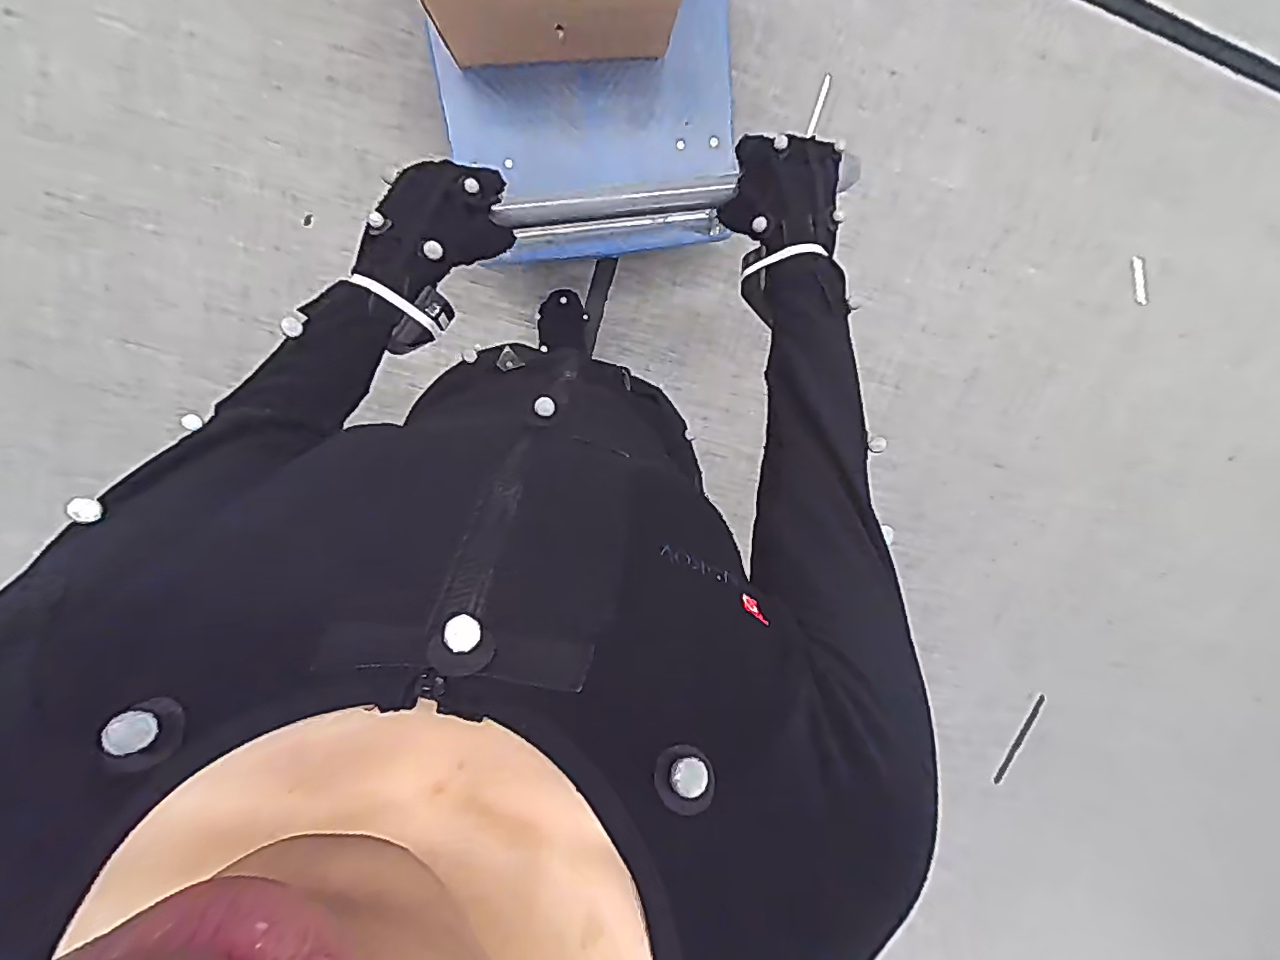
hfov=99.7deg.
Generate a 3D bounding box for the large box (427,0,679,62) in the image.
[{"bbox_3d":[-0.146,-0.917,0.860,0.408,0.320,0.320,-6,108,-2],"label":"large box"}]
